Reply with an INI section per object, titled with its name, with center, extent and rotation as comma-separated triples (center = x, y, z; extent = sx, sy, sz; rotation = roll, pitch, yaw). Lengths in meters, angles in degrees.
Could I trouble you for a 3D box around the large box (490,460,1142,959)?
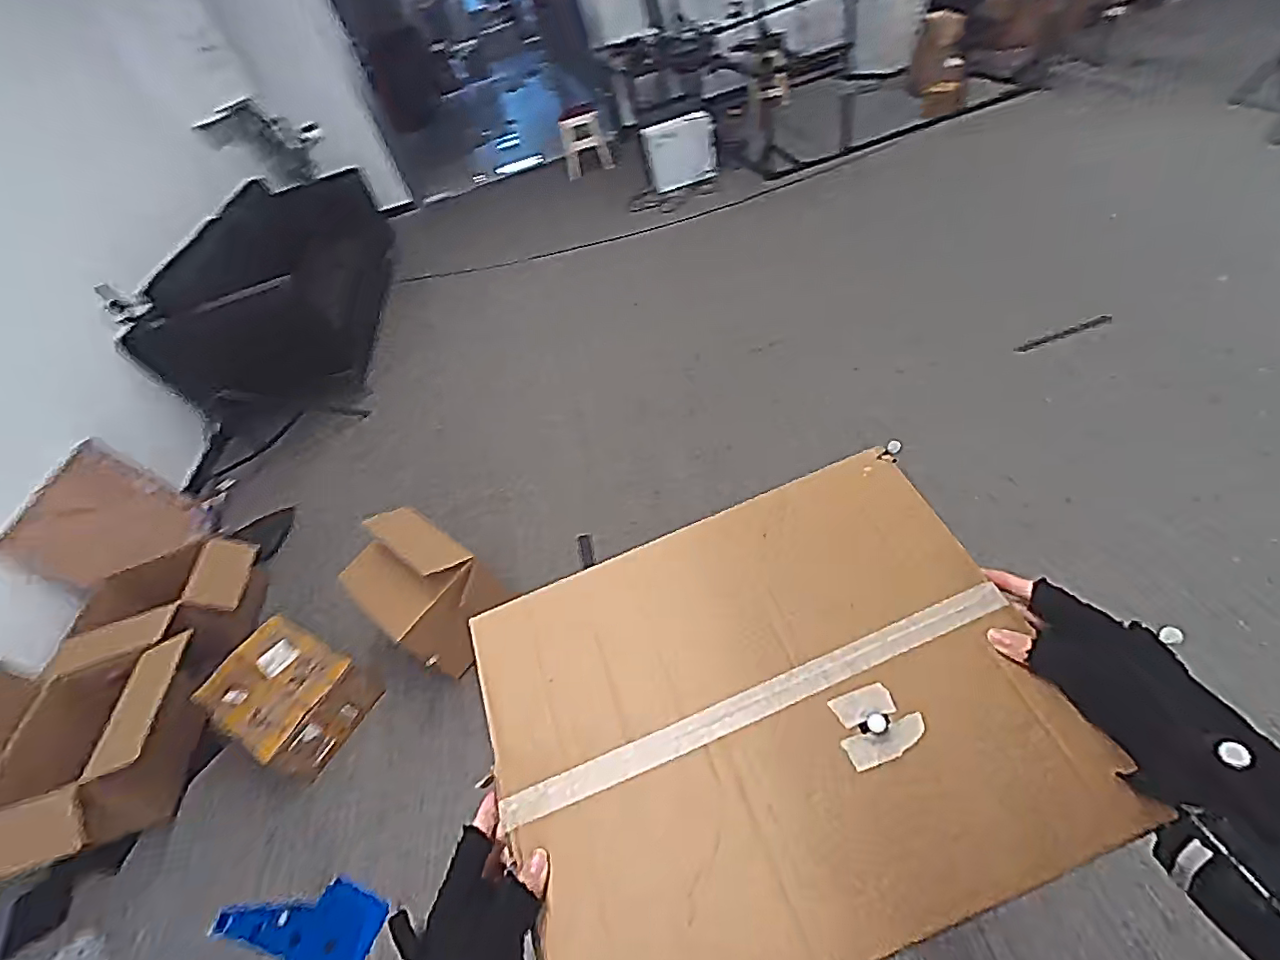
[large box]
center = 0.120, 0.249, 0.545
extent = 0.408, 0.320, 0.320
rotation = -22, 58, -2
